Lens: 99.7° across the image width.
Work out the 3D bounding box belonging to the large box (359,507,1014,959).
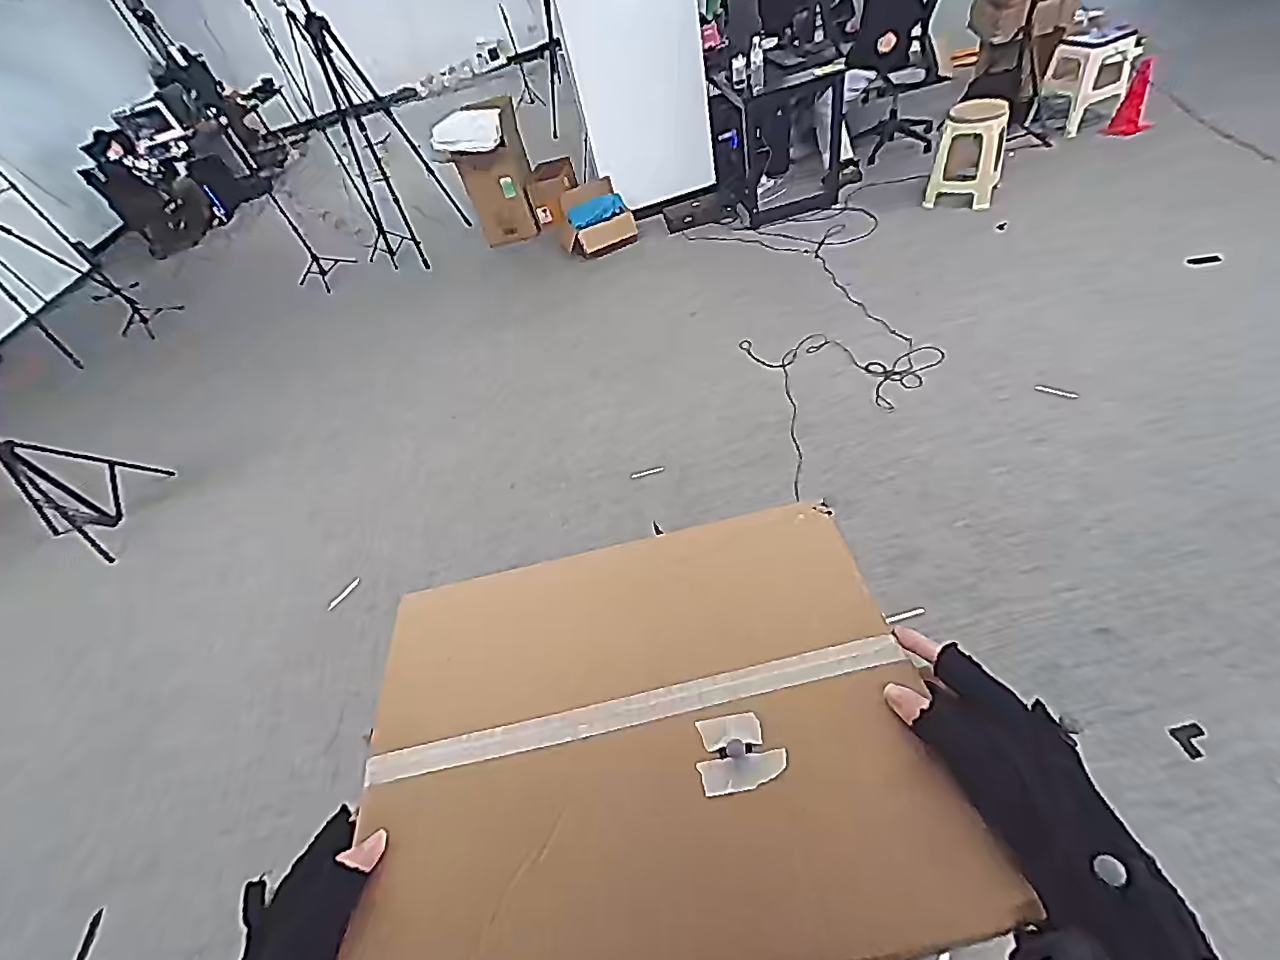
[{"bbox_3d":[0.025,0.278,0.518,0.408,0.320,0.320,-13,45,1],"label":"large box"}]
